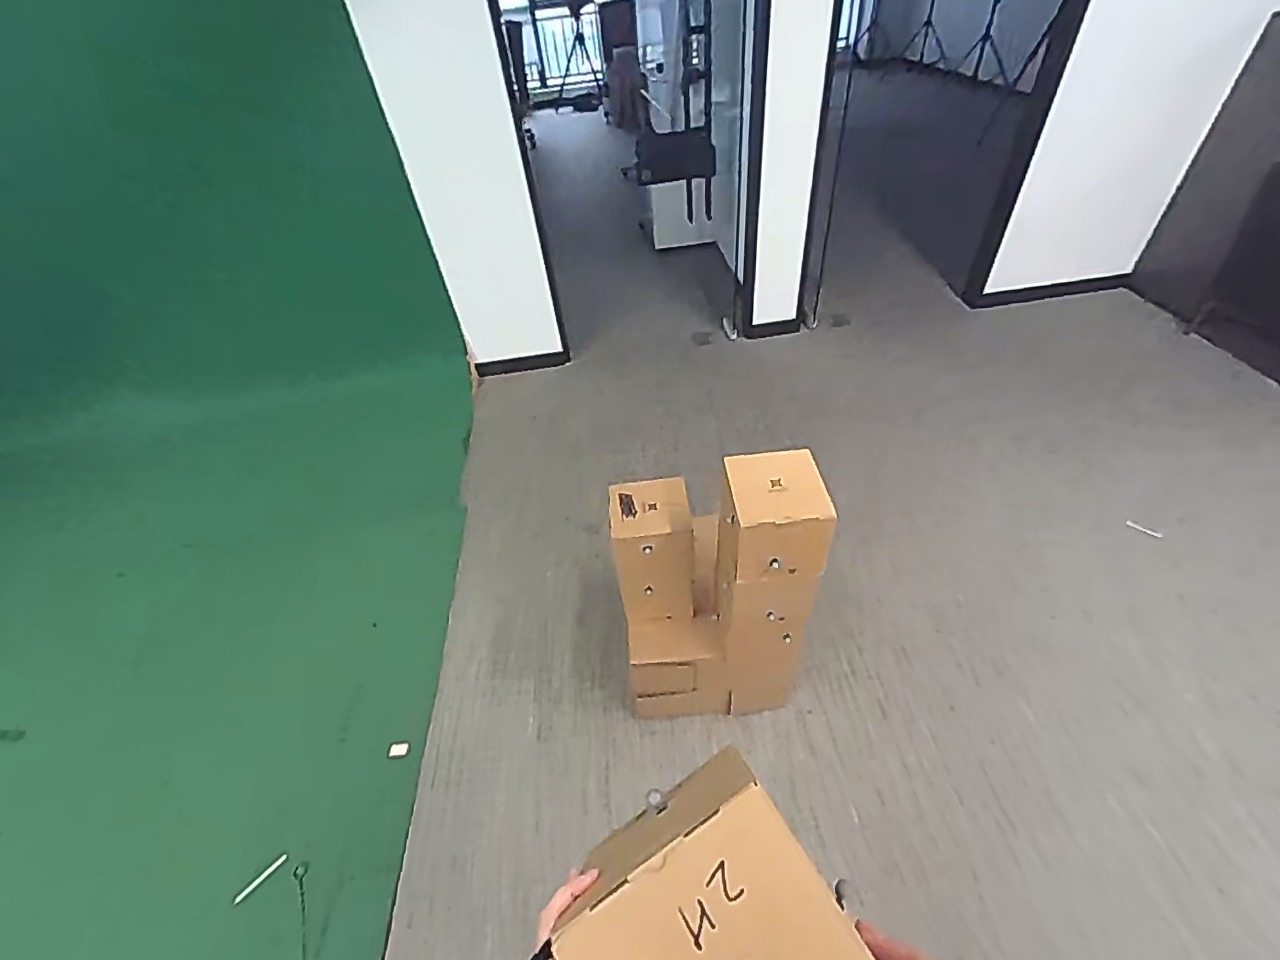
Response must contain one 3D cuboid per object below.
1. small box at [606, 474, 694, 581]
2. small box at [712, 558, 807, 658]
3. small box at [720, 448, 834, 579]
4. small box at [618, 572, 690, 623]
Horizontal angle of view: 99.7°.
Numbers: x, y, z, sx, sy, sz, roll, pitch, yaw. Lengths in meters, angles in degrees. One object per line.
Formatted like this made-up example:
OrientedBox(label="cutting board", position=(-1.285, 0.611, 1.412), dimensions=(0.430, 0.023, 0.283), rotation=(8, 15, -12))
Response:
OrientedBox(label="small box", position=(0.023, 0.112, 1.230), dimensions=(0.179, 0.176, 0.168), rotation=(-8, 43, 1))
OrientedBox(label="small box", position=(0.267, 0.291, 1.251), dimensions=(0.179, 0.176, 0.168), rotation=(-7, 43, 0))
OrientedBox(label="small box", position=(0.245, 0.063, 1.018), dimensions=(0.168, 0.176, 0.179), rotation=(-6, 44, 1))
OrientedBox(label="small box", position=(0.033, 0.231, 1.346), dimensions=(0.168, 0.176, 0.179), rotation=(-7, 42, 1))
